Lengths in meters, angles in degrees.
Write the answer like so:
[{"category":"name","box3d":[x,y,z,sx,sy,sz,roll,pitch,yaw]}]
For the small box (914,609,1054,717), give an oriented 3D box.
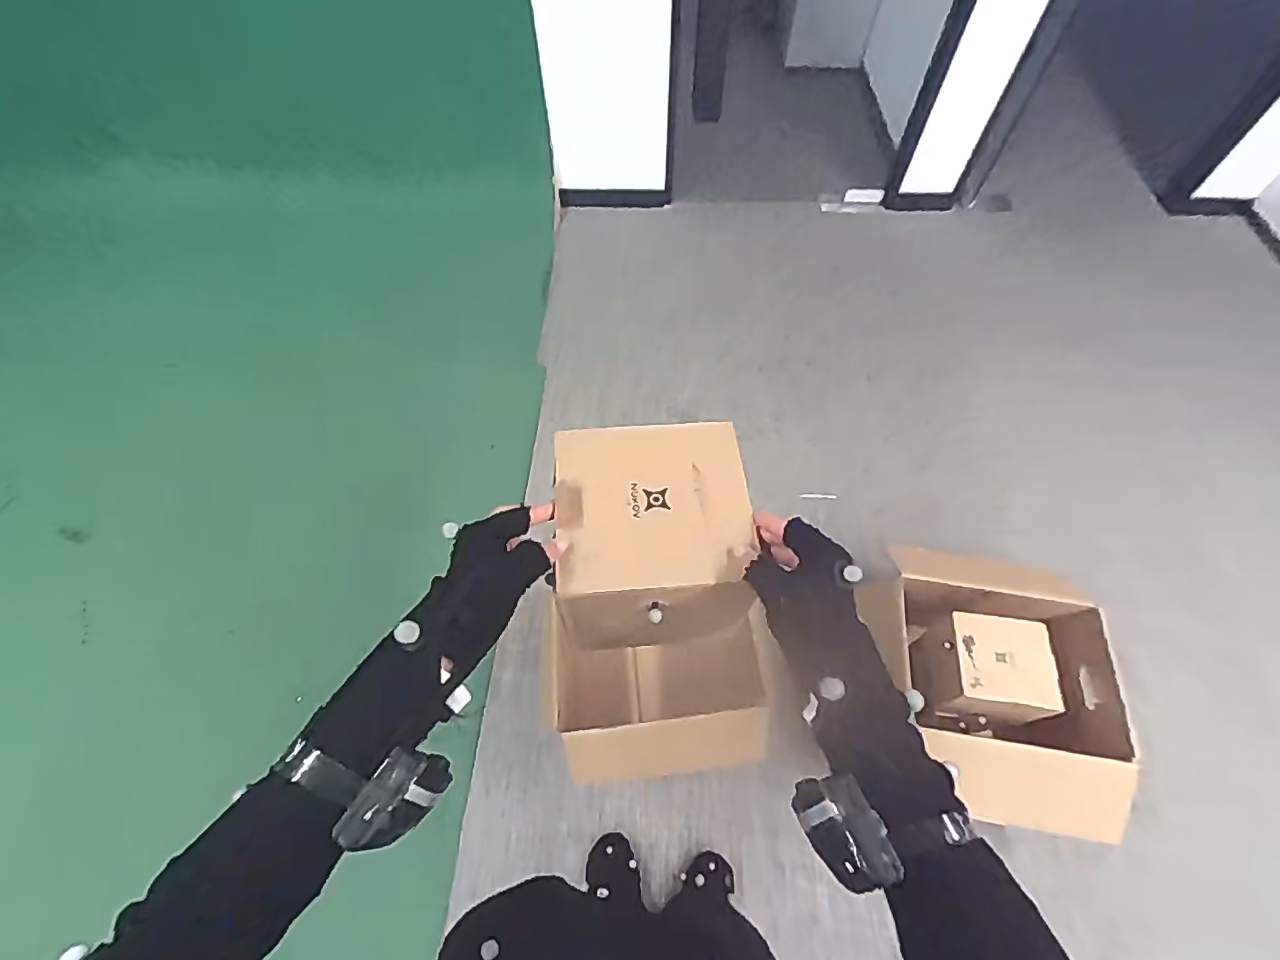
[{"category":"small box","box3d":[0.695,0.382,1.116,0.179,0.176,0.168,6,58,6]}]
